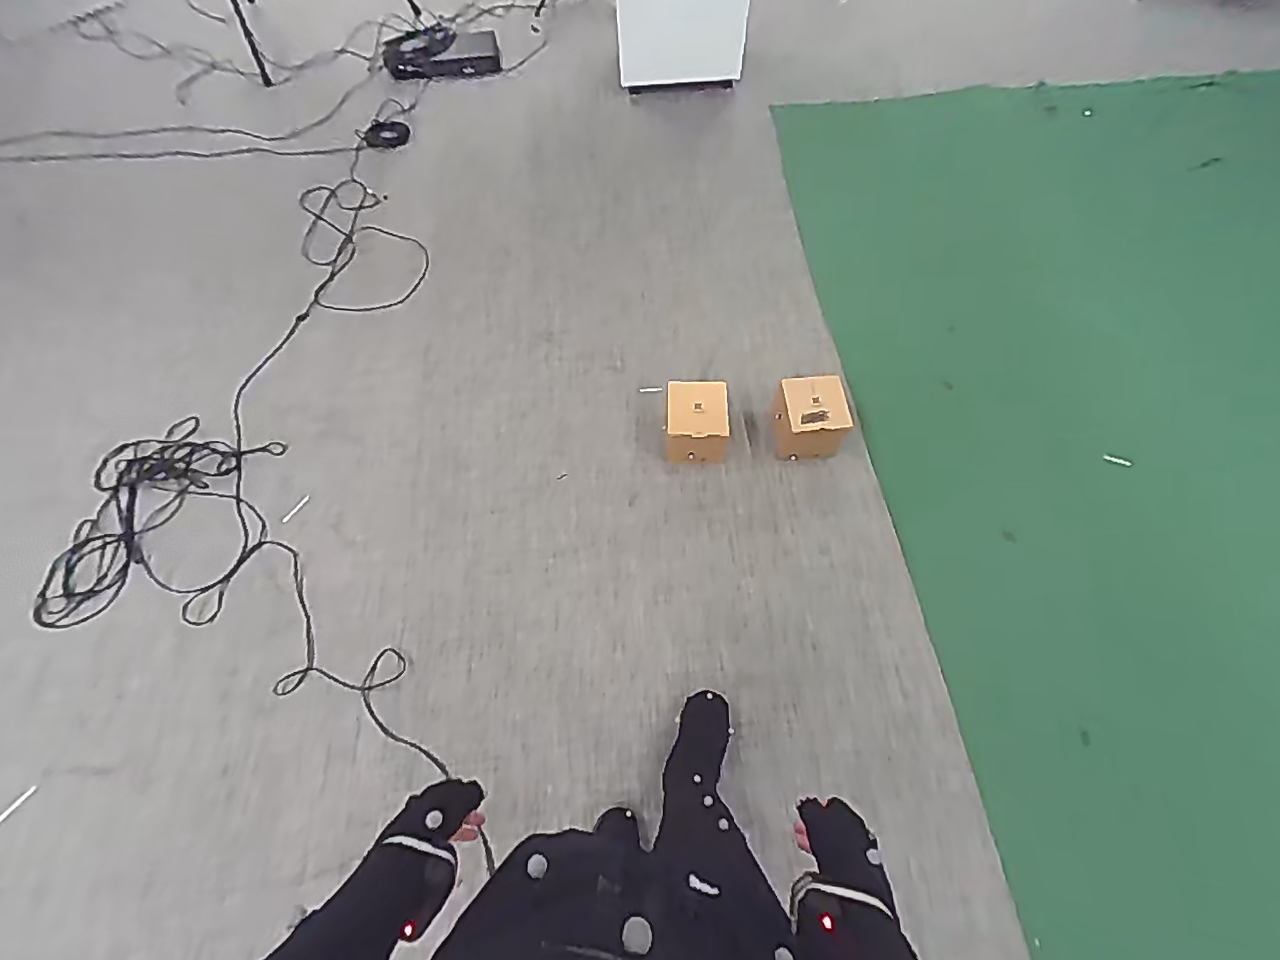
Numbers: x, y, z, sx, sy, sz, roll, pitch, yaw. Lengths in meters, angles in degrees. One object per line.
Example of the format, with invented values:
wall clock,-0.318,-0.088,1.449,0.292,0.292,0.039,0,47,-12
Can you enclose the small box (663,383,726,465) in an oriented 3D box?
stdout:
small box,0.150,-0.160,1.549,0.168,0.176,0.179,0,65,1

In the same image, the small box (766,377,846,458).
small box,0.469,-0.172,1.549,0.168,0.176,0.179,-4,64,-1
